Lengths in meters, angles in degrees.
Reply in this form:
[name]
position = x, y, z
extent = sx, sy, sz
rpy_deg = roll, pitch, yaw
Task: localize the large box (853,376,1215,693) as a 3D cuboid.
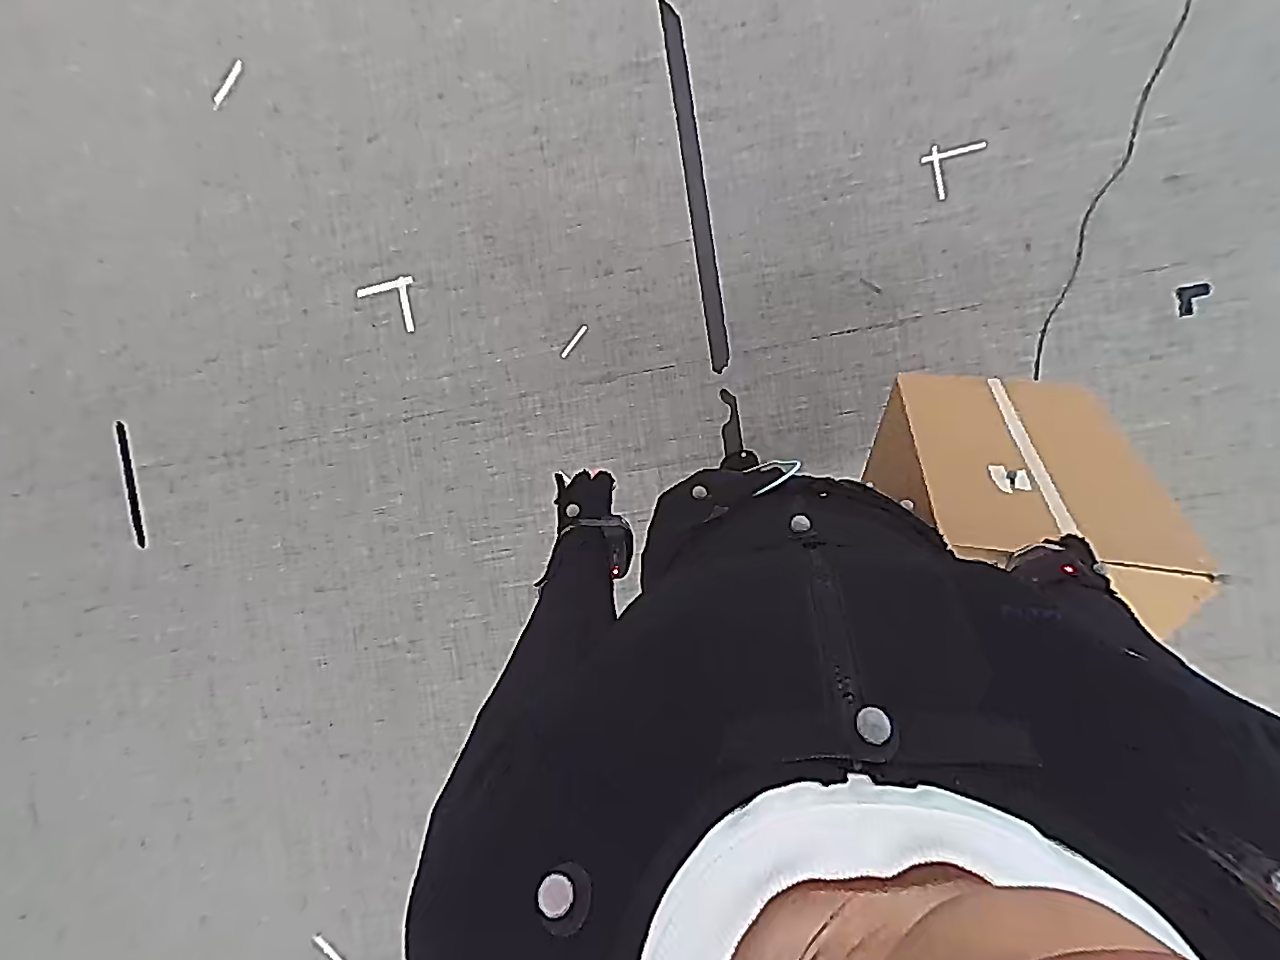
[large box]
position = 0.567, 0.075, 0.900
extent = 0.320, 0.408, 0.320
rpy_deg = 6, 135, 9
